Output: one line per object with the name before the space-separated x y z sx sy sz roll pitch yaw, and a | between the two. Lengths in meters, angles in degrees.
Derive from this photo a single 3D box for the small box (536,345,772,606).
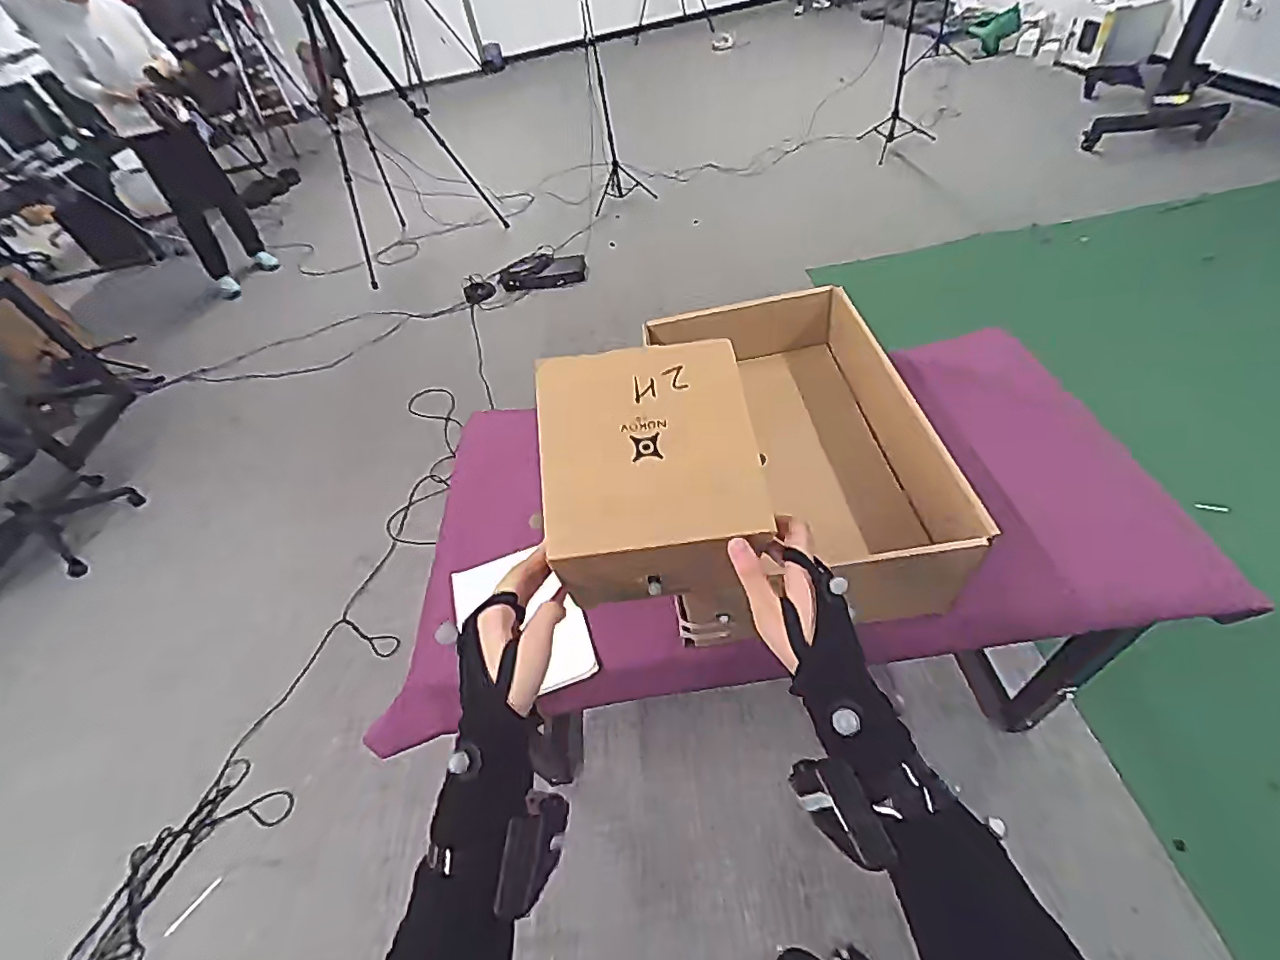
small box | 0.007 0.009 0.485 0.168 0.176 0.179 -7 64 -2
